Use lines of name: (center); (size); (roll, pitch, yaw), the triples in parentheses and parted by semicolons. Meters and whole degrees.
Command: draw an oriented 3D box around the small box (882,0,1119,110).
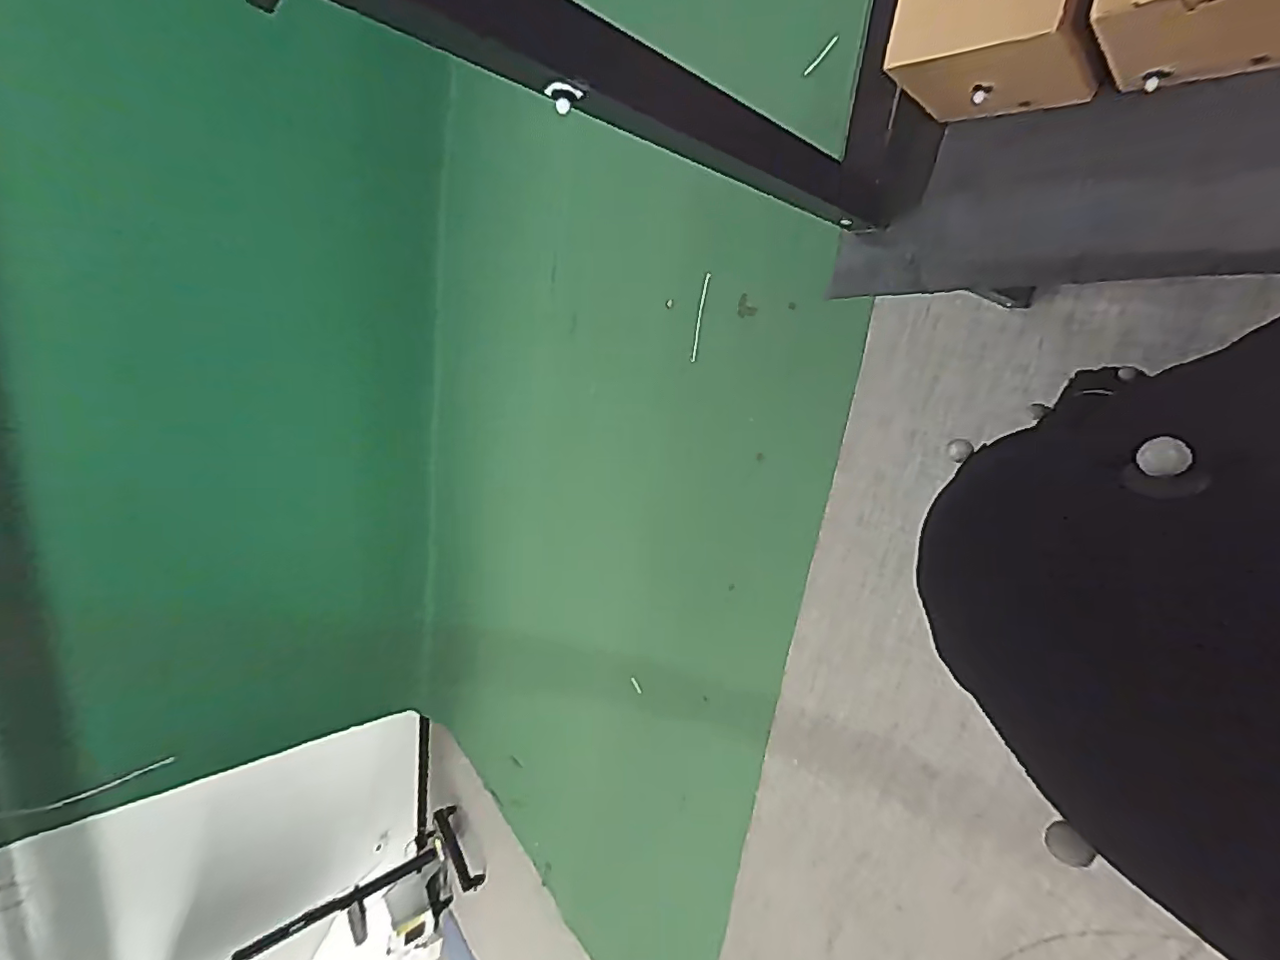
small box: (0.391, -0.518, 0.569); (0.168, 0.176, 0.179); (26, 113, 43)
